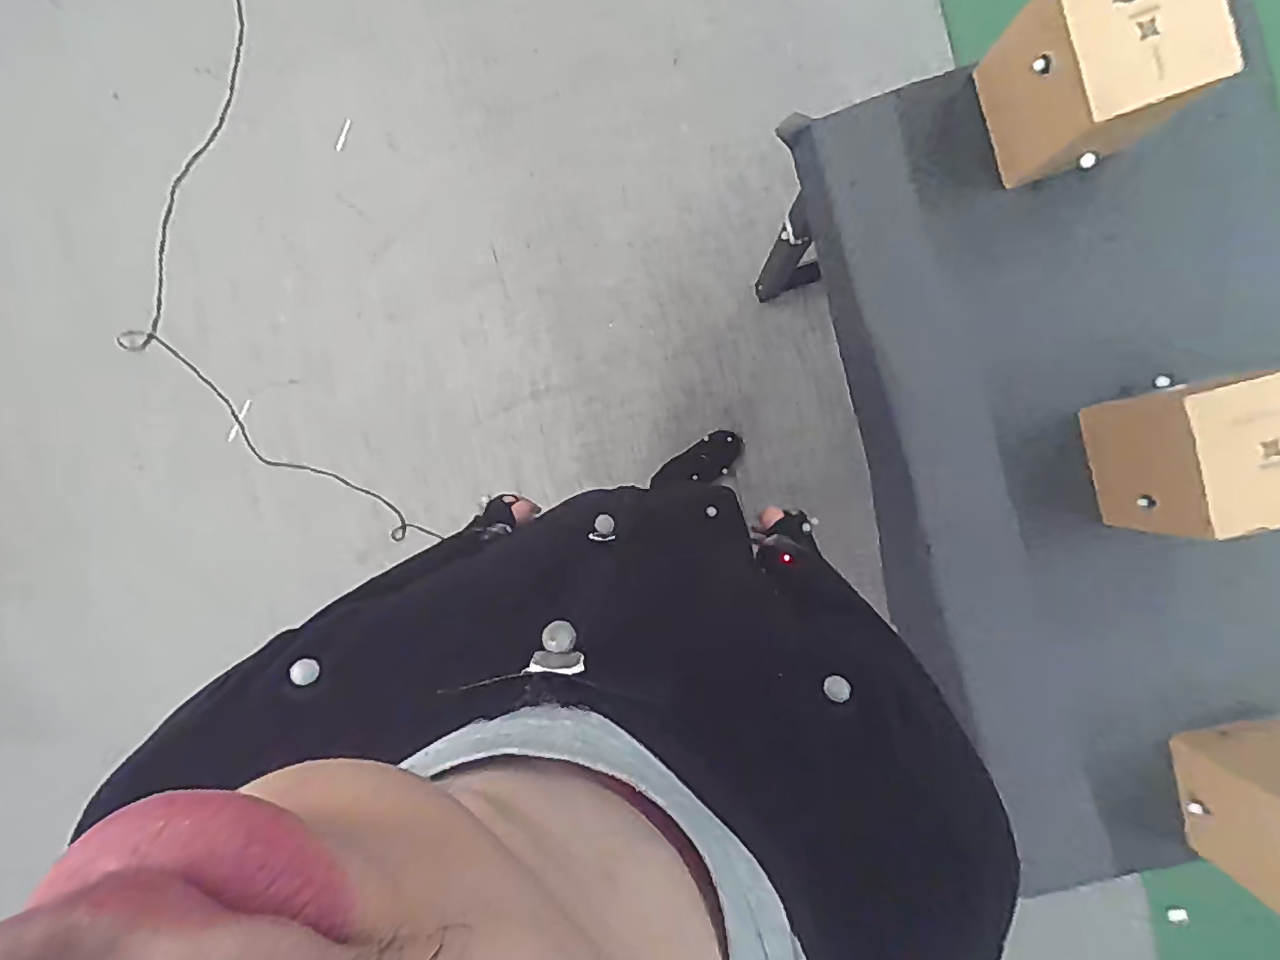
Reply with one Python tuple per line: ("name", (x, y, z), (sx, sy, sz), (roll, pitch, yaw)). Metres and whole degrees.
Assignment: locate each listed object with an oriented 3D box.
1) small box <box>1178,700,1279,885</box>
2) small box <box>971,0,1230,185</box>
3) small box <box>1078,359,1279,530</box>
("small box", (0.889, 0.427, 0.722), (0.168, 0.176, 0.179), (-14, 92, 2))
("small box", (0.564, -0.521, 0.690), (0.168, 0.176, 0.179), (-19, 93, 2))
("small box", (0.734, -0.048, 0.709), (0.168, 0.176, 0.179), (-17, 91, 1))
